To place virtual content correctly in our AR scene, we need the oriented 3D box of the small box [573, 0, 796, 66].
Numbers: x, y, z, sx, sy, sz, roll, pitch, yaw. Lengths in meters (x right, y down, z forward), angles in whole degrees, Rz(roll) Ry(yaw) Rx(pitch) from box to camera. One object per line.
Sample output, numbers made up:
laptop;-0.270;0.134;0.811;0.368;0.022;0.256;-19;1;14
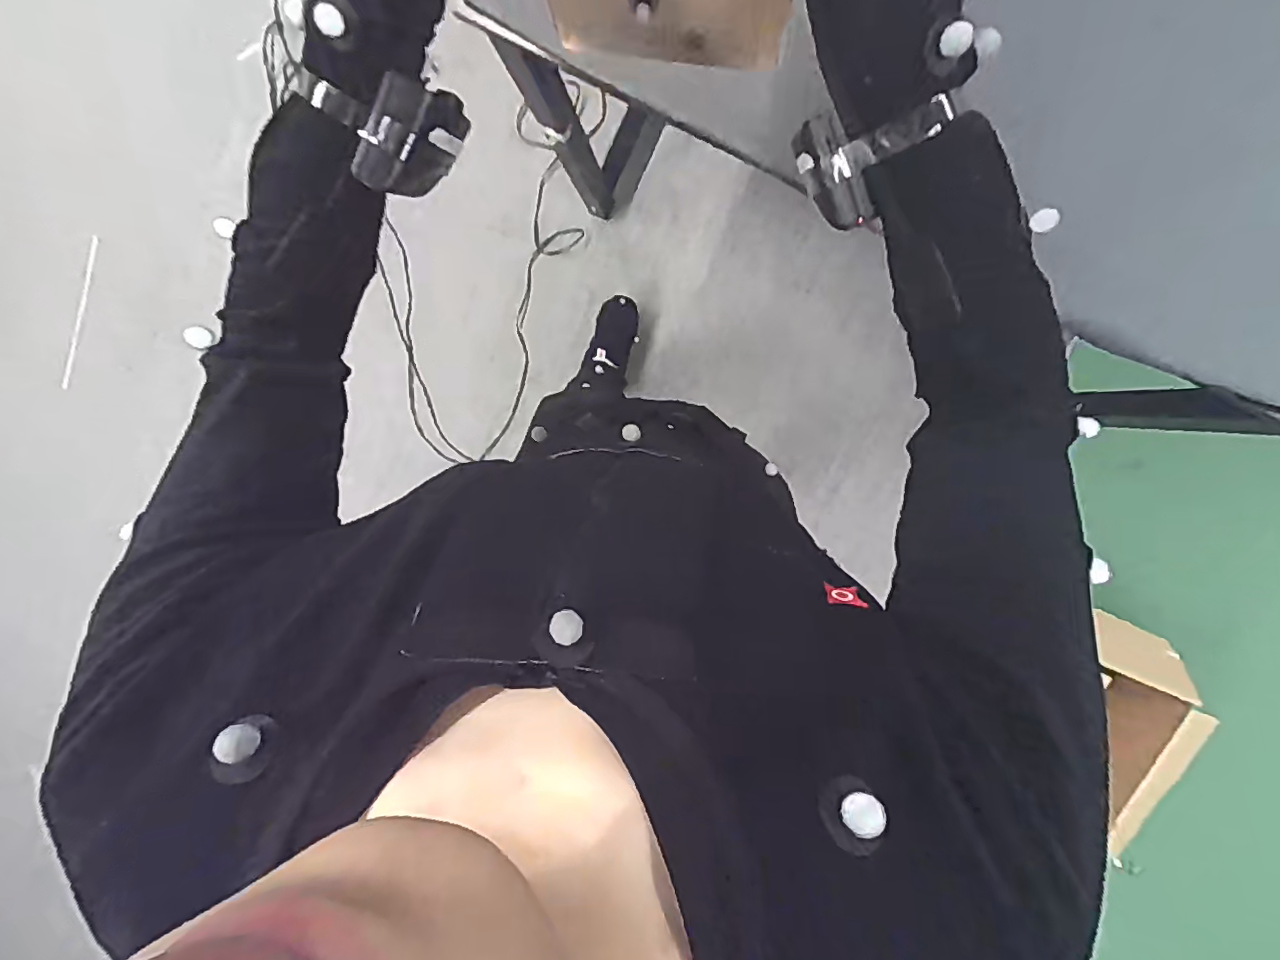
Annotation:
small box;0.034;-0.404;0.326;0.168;0.176;0.179;10;97;4
